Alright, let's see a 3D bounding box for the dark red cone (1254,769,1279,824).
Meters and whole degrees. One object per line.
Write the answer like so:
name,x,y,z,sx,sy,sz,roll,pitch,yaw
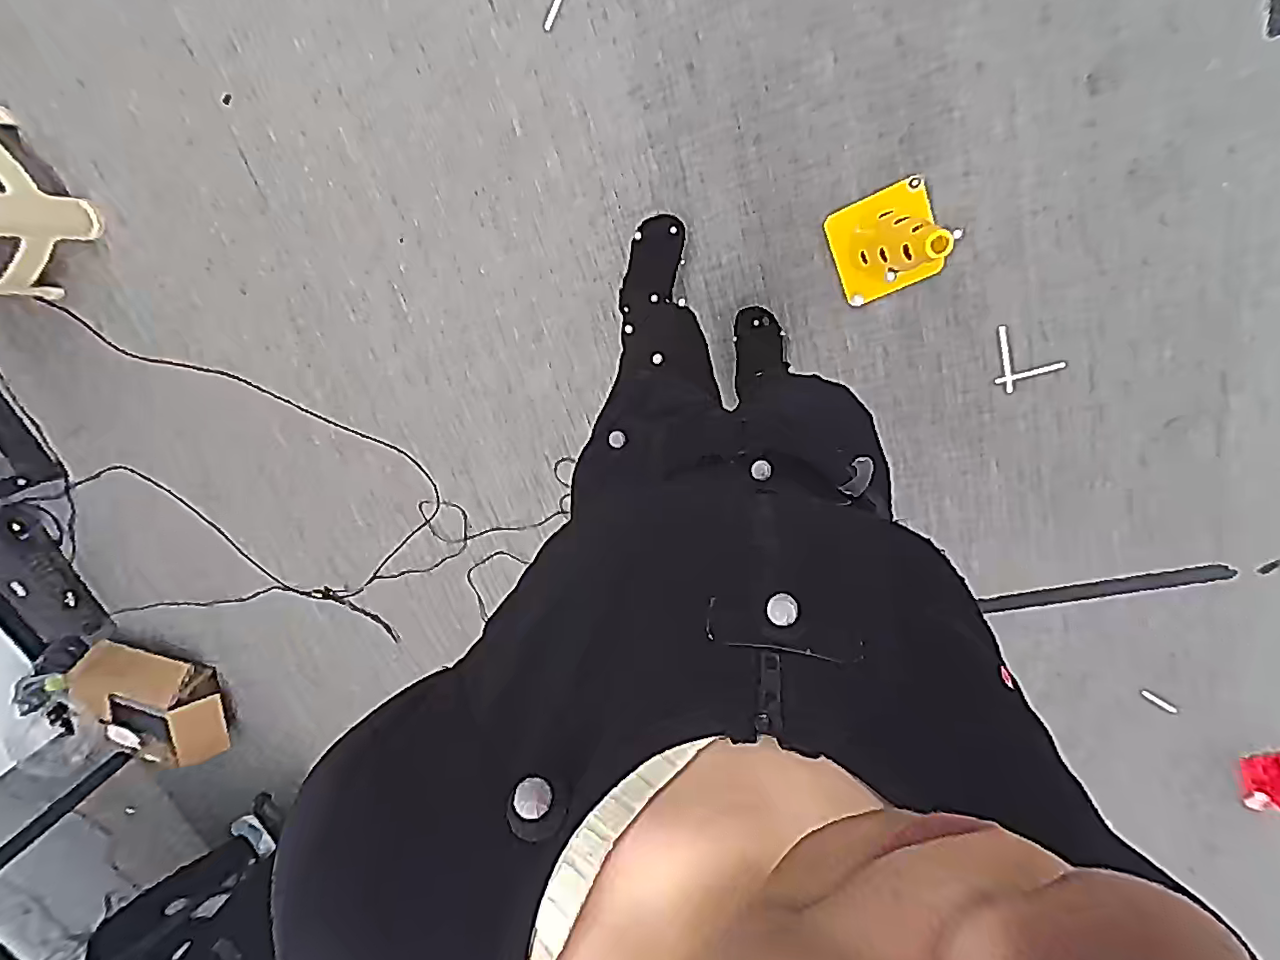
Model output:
dark red cone,1.724,0.884,1.275,0.202,0.394,0.201,-21,106,18
